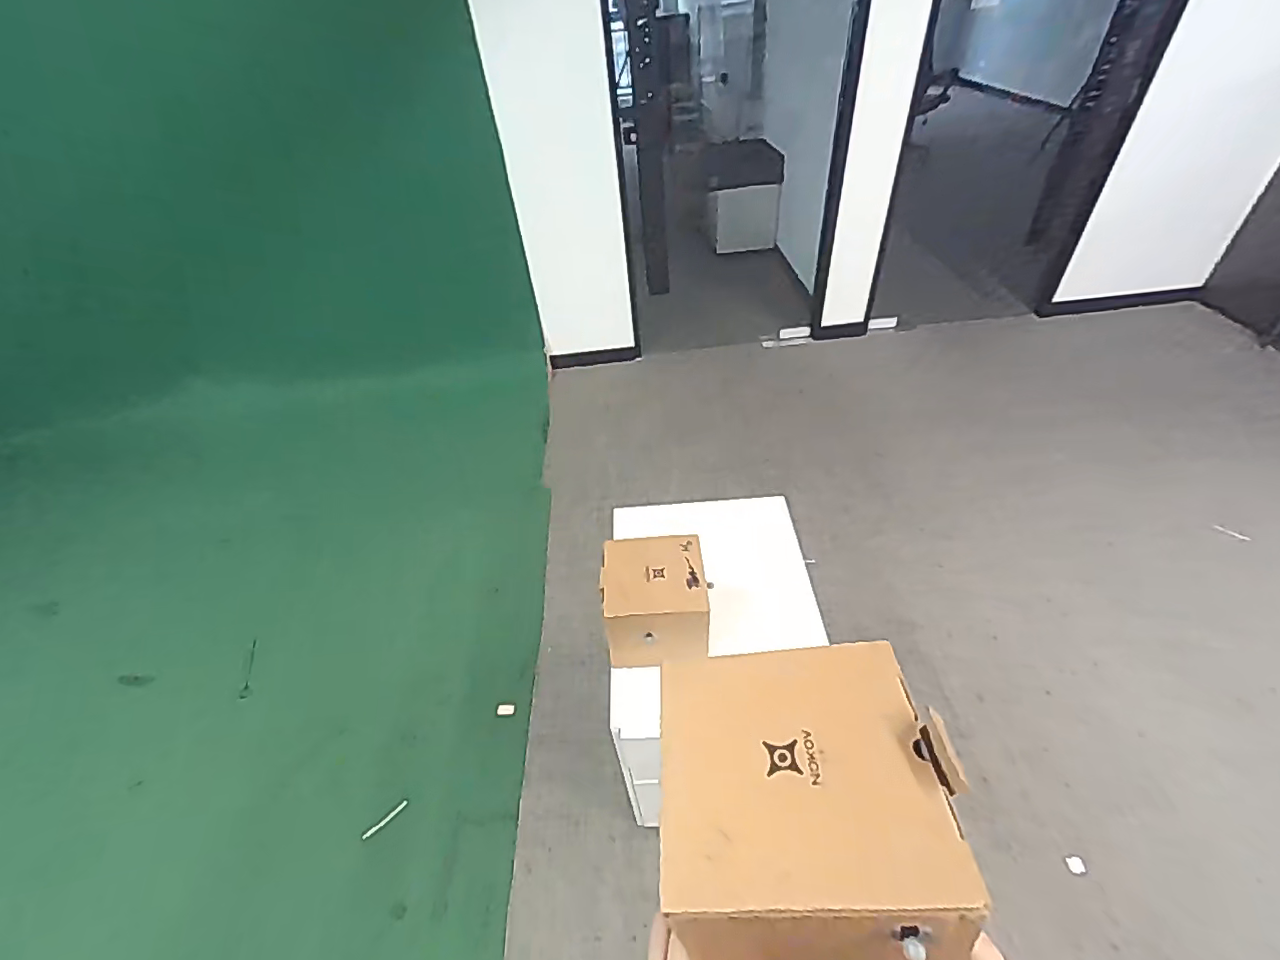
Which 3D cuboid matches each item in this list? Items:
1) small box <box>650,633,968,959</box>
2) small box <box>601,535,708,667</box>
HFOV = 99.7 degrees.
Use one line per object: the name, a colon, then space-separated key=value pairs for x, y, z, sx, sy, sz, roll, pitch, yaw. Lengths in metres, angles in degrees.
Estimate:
small box: x=0.111 y=0.240 z=0.406 sx=0.179 sy=0.176 sz=0.168 roll=-8 pitch=36 yaw=8
small box: x=0.028 y=0.220 z=0.971 sx=0.179 sy=0.176 sz=0.168 roll=-4 pitch=43 yaw=2
